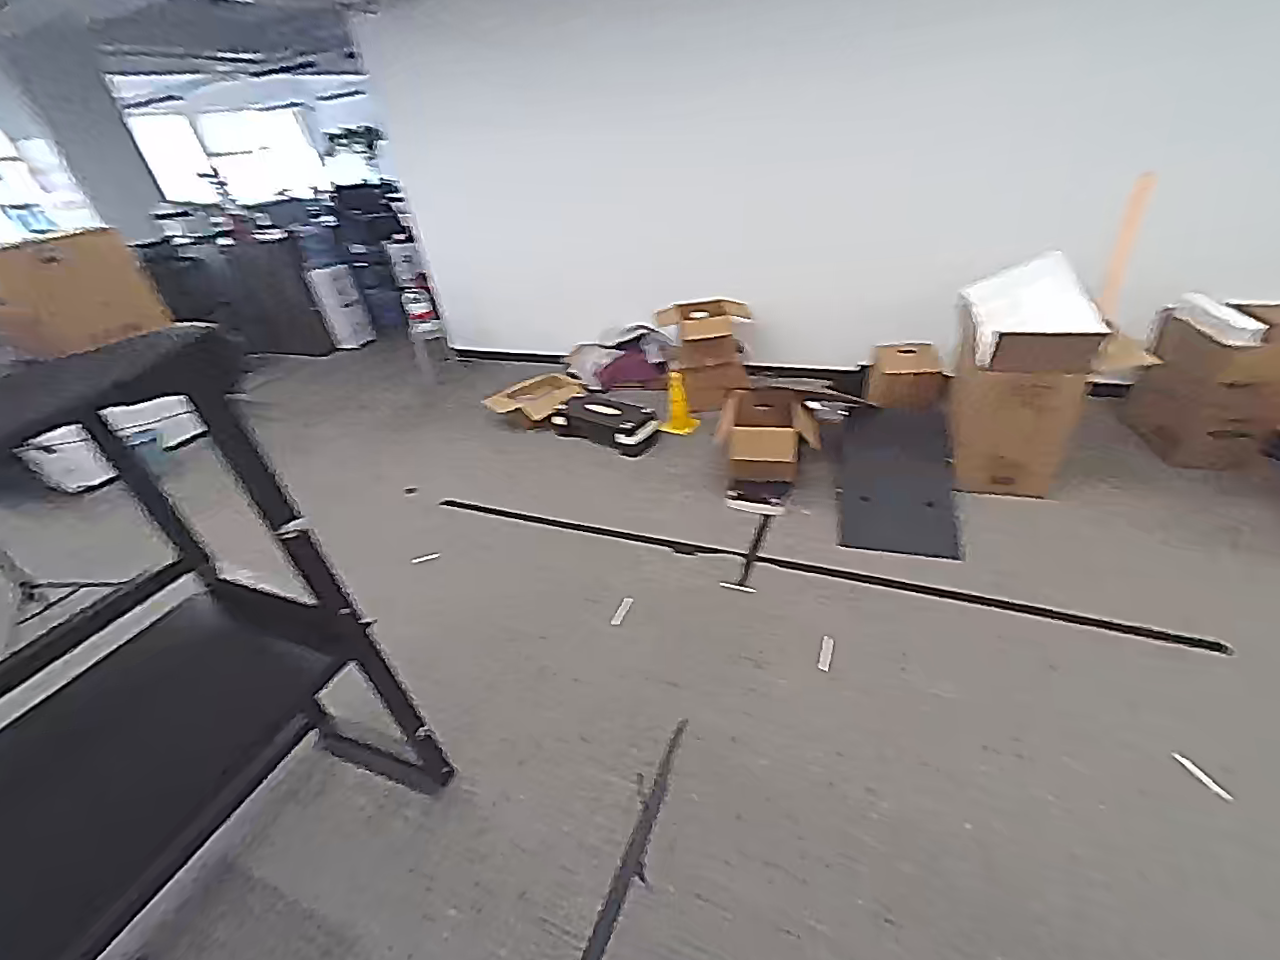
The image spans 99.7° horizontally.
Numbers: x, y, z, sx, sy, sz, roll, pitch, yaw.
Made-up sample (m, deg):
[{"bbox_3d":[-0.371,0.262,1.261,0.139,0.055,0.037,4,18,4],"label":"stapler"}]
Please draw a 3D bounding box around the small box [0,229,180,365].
[{"bbox_3d":[-0.920,-0.295,0.878,0.179,0.176,0.168,7,38,24],"label":"small box"}]
